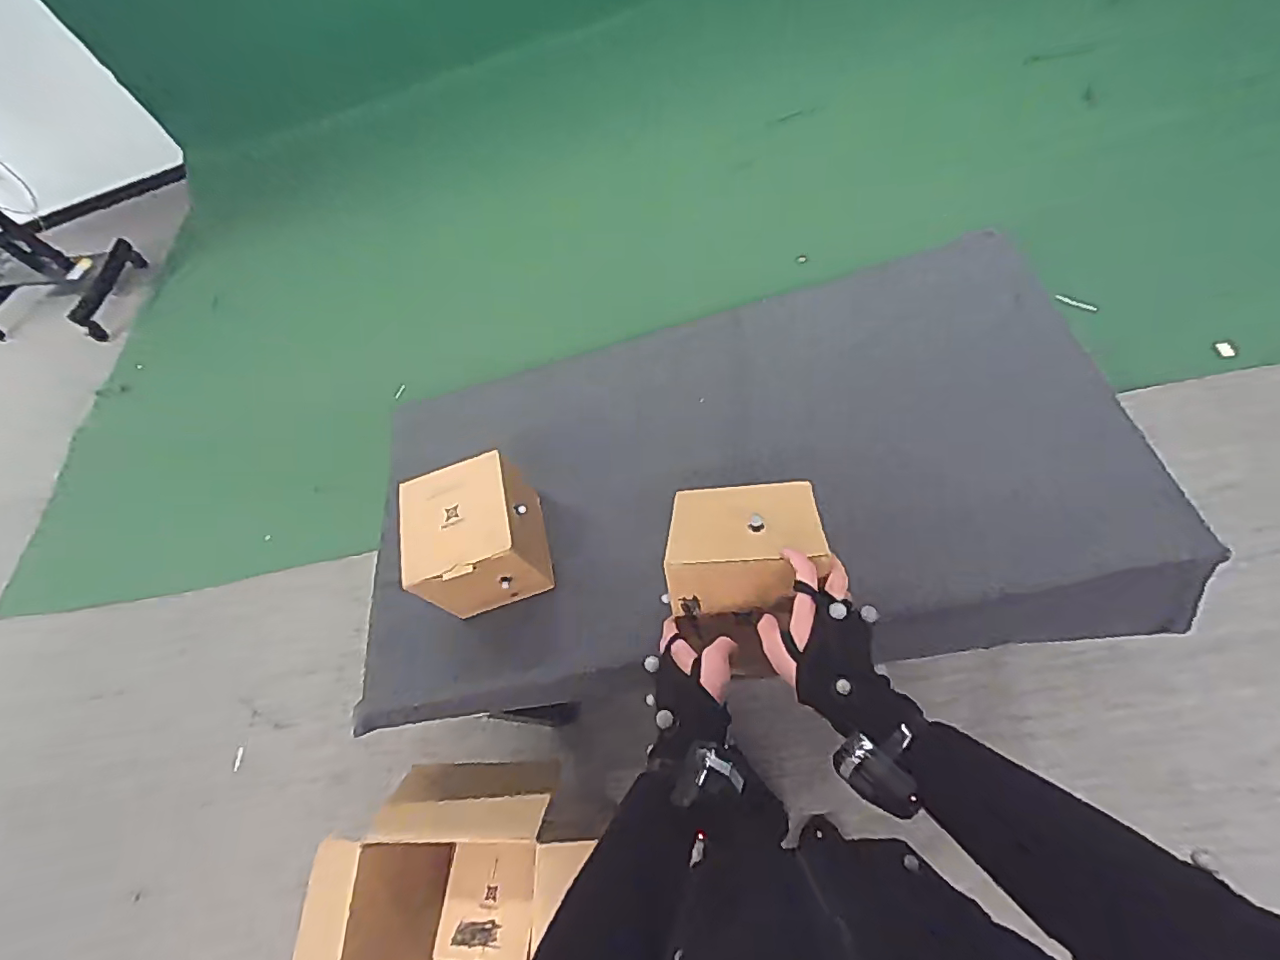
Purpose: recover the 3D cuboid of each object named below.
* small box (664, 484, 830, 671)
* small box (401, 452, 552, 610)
[{"bbox_3d":[0.130,0.114,0.675,0.179,0.168,0.176,-5,25,10],"label":"small box"},{"bbox_3d":[-0.251,0.091,0.850,0.168,0.176,0.179,-19,57,3],"label":"small box"}]
